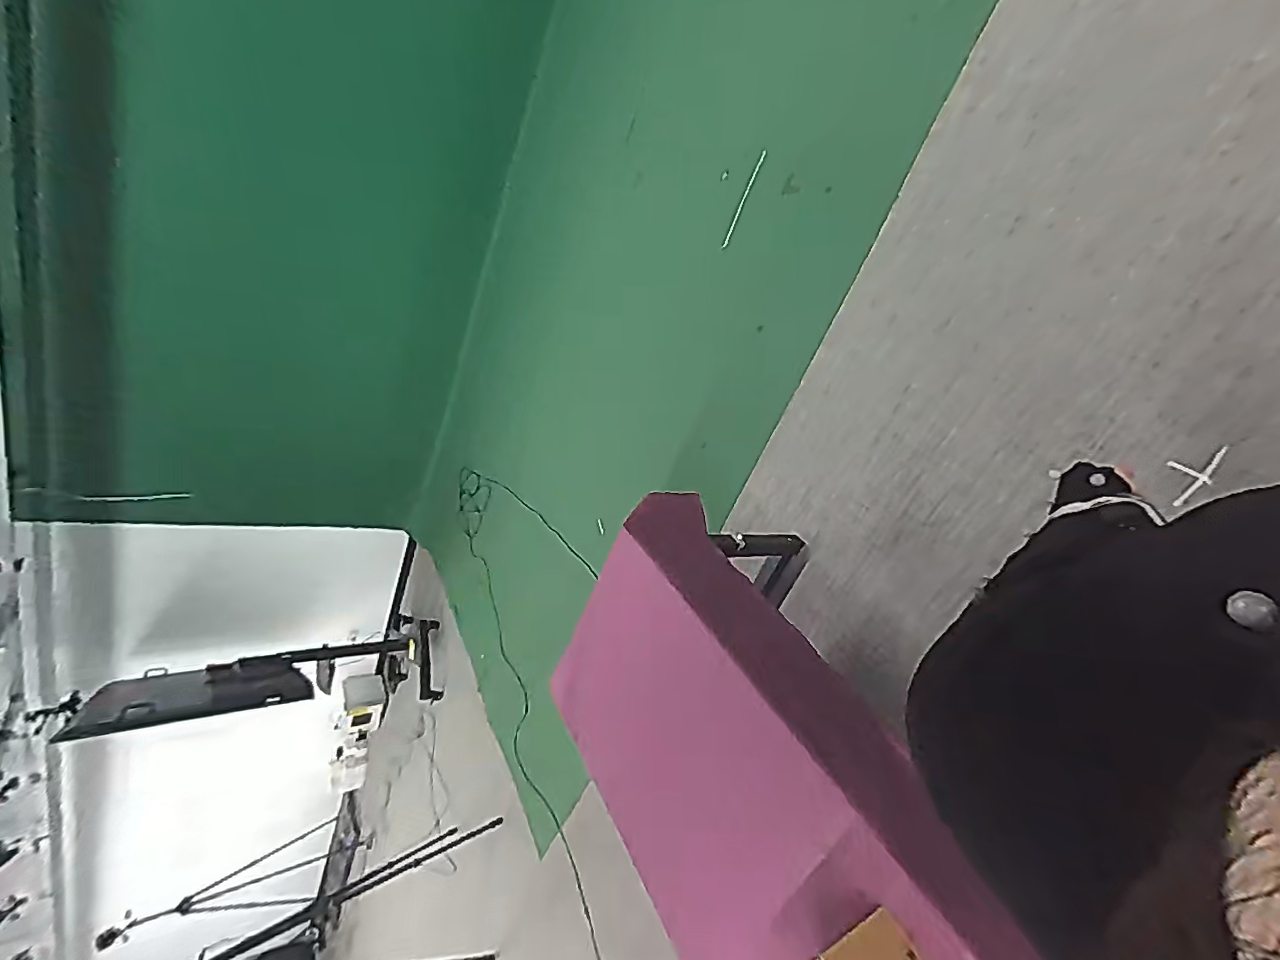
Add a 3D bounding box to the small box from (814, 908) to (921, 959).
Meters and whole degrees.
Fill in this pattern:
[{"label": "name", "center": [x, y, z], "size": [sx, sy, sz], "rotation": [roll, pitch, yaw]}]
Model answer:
[{"label": "small box", "center": [0.308, 0.739, 0.735], "size": [0.168, 0.176, 0.179], "rotation": [48, 122, 45]}]
